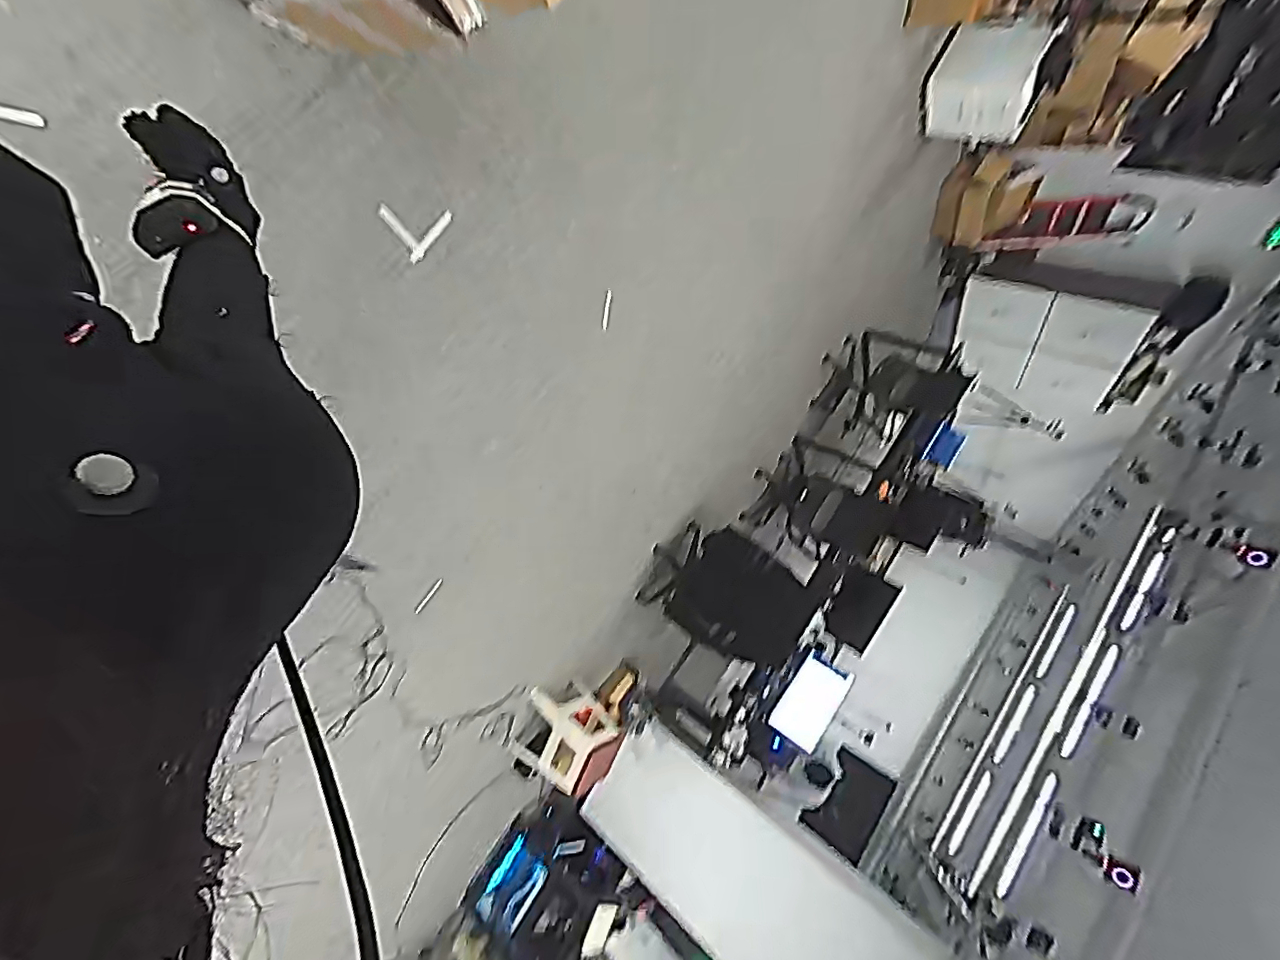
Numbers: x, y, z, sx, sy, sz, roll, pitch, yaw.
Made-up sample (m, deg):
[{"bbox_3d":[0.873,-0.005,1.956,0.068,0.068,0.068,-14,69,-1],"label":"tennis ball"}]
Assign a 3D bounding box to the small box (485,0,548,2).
[{"bbox_3d":[-0.193,-0.896,0.843,0.179,0.176,0.168,-58,150,-9],"label":"small box"}]
